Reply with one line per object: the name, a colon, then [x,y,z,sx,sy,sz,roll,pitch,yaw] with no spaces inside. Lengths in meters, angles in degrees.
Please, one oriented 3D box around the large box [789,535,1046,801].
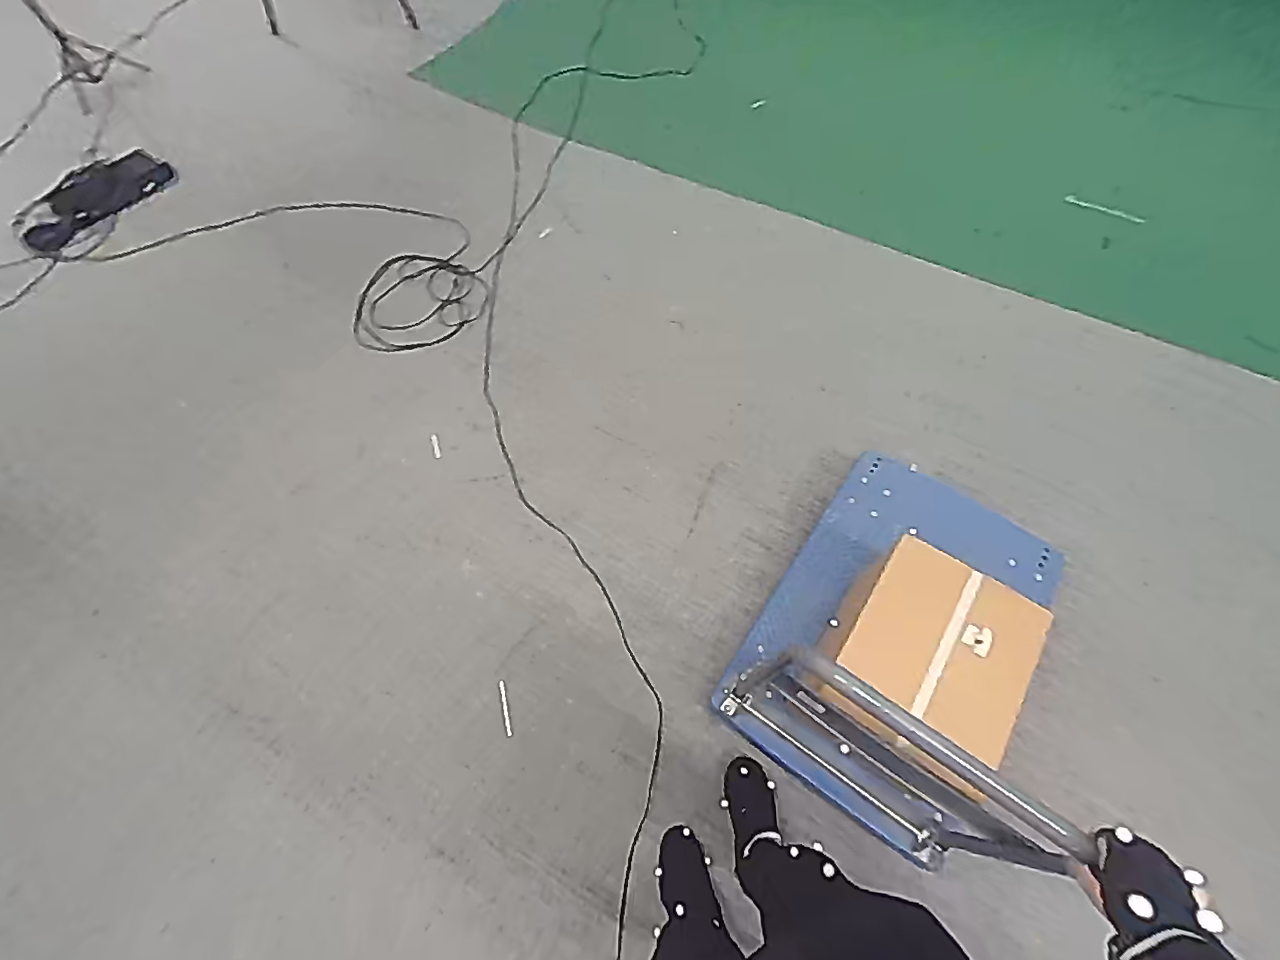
large box: [0.575,0.407,1.172,0.320,0.320,0.408,32,67,16]
